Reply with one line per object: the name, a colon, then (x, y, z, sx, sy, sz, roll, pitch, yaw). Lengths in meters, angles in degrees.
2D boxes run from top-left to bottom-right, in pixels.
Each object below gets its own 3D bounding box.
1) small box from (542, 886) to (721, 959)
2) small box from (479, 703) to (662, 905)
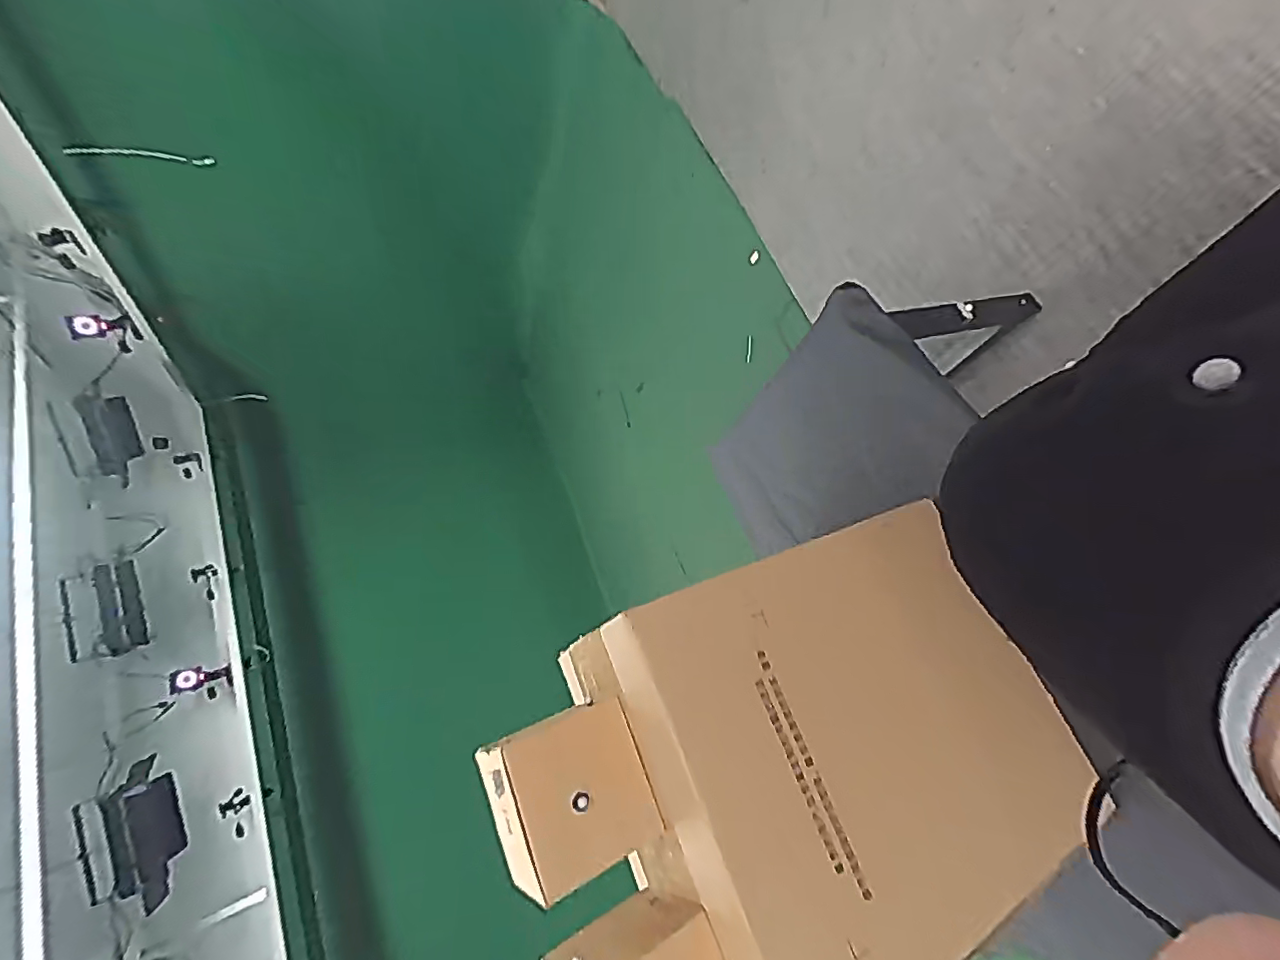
small box: (0.007, 0.634, 0.639, 0.168, 0.176, 0.179, -47, 61, 53)
small box: (-0.099, 0.418, 0.733, 0.168, 0.176, 0.179, -46, 62, 54)
